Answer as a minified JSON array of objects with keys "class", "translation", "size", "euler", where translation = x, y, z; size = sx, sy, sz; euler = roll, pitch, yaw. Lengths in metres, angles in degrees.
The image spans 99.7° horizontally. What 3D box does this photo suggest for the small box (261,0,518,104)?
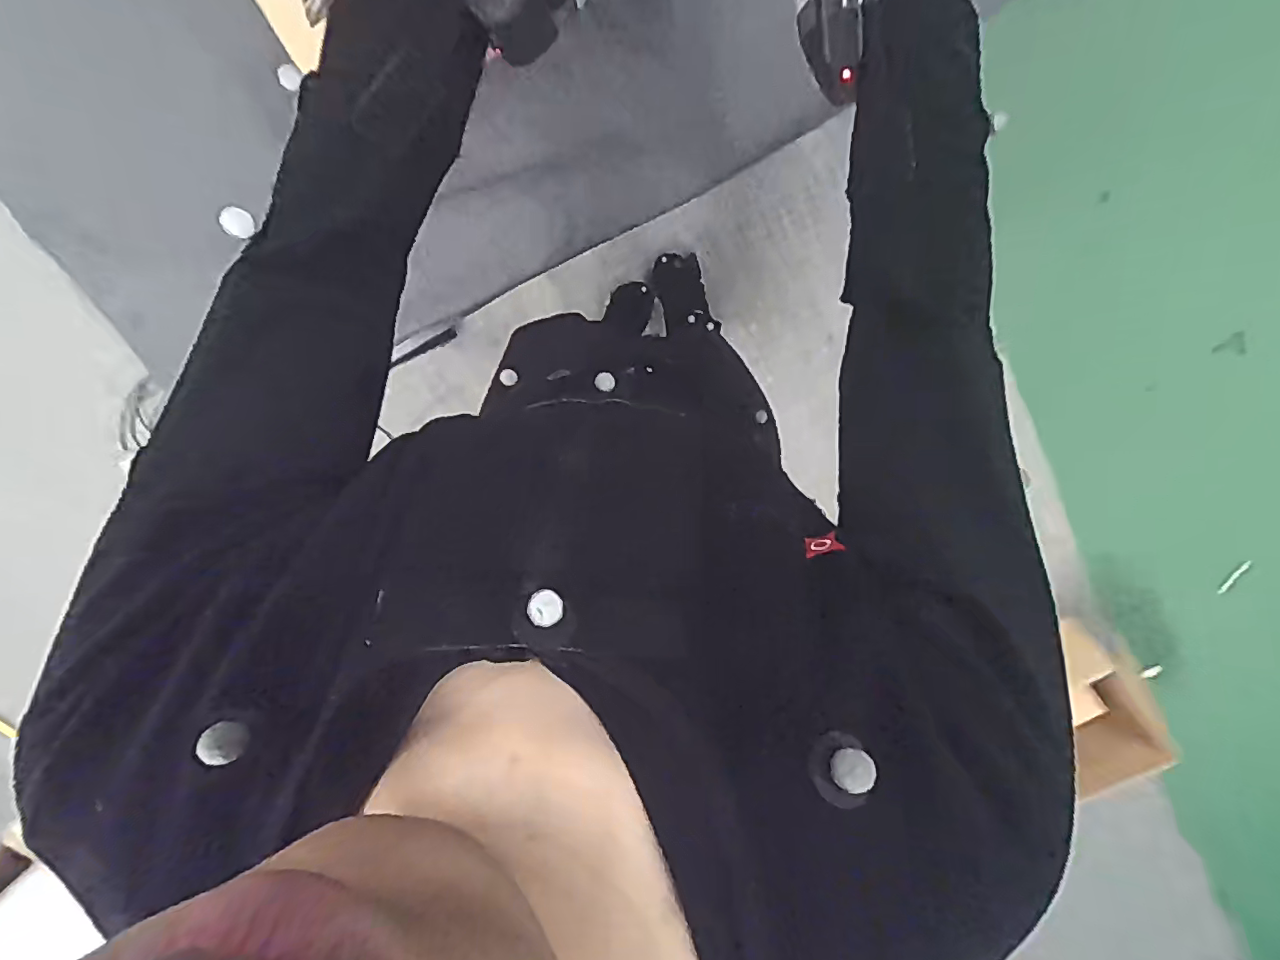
[{"class":"small box","translation":[-0.232,-0.465,0.471],"size":[0.168,0.176,0.179],"euler":[-24,109,14]}]
